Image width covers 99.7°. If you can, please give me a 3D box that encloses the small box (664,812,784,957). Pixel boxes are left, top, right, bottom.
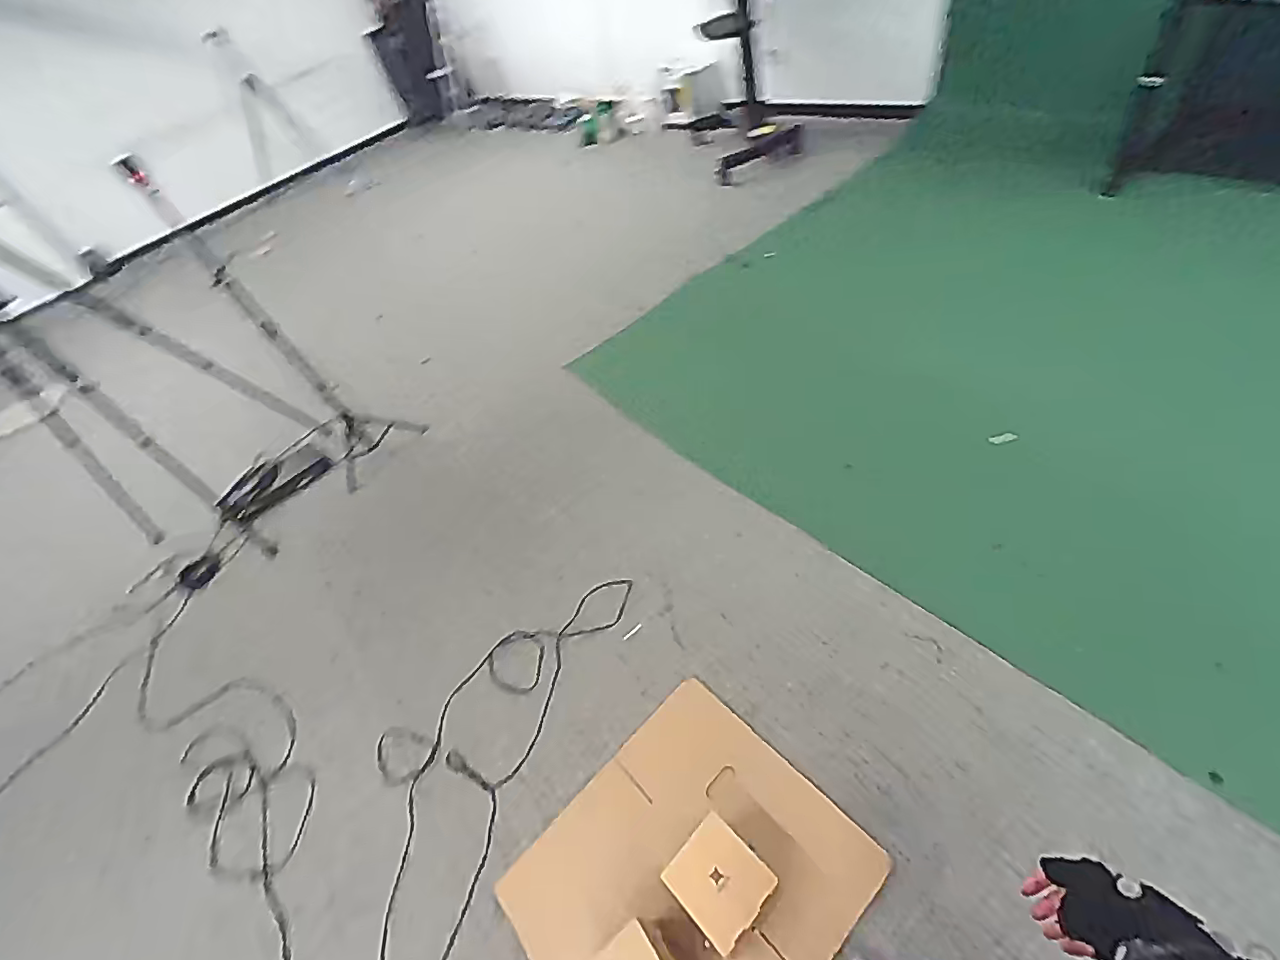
[{"bbox_3d":[0.178,0.839,1.118,0.168,0.176,0.179,-43,50,-20],"label":"small box"}]
